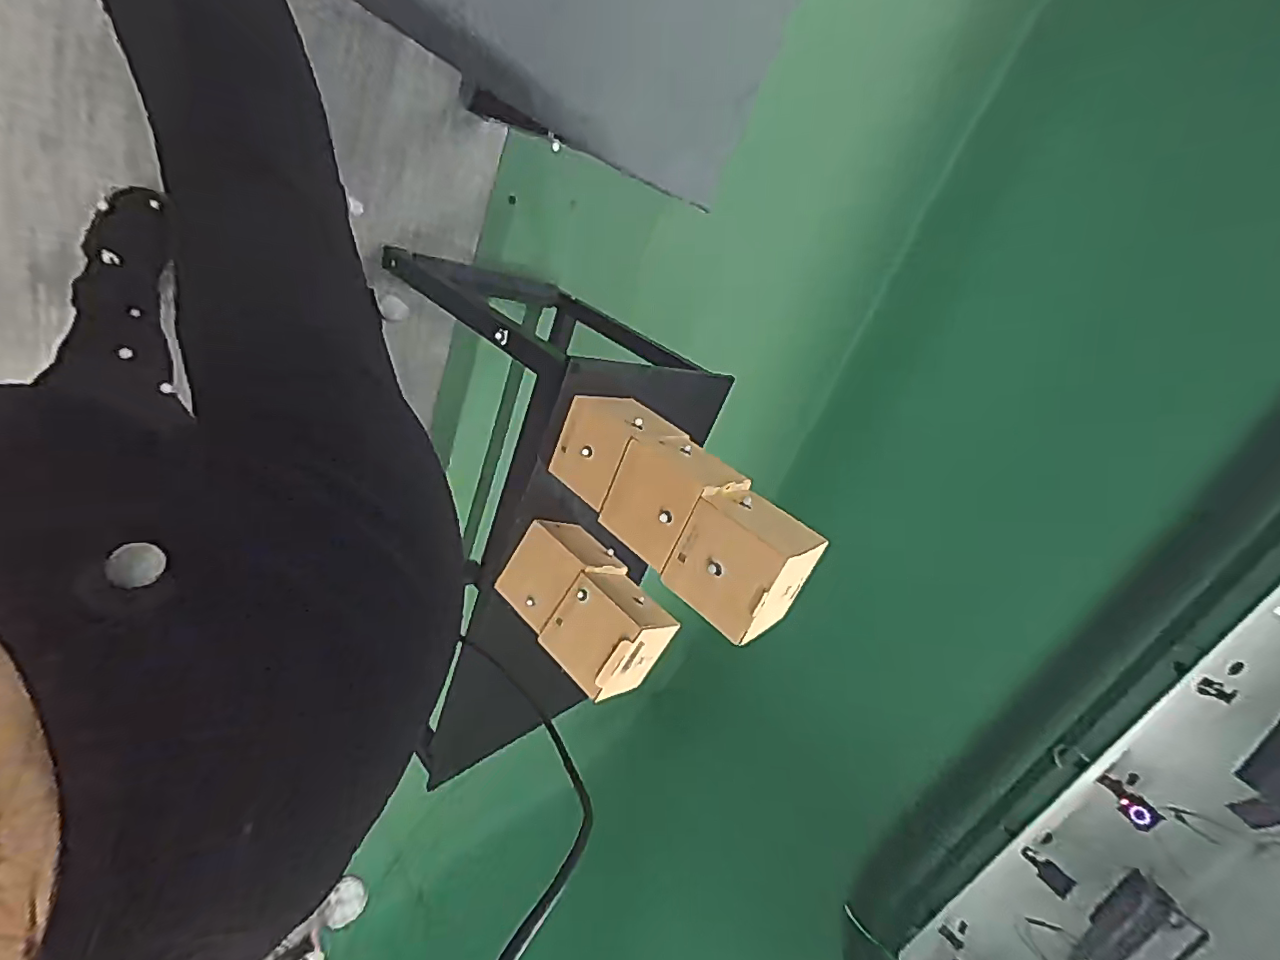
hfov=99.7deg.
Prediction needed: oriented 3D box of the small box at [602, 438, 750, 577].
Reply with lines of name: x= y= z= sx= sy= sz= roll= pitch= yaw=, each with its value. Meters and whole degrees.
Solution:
small box: x=0.058 y=0.041 z=0.962 sx=0.168 sy=0.176 sz=0.179 roll=-7 pitch=127 yaw=-51

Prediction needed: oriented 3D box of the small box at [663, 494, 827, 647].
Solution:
small box: x=0.167 y=0.136 z=0.883 sx=0.179 sy=0.176 sz=0.168 roll=-4 pitch=125 yaw=-52

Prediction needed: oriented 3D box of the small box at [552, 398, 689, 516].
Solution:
small box: x=-0.043 y=-0.050 z=1.052 sx=0.179 sy=0.176 sz=0.168 roll=-7 pitch=128 yaw=-52

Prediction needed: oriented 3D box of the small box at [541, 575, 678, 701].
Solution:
small box: x=-0.061 y=0.302 z=1.068 sx=0.168 sy=0.176 sz=0.179 roll=-56 pitch=151 yaw=7
